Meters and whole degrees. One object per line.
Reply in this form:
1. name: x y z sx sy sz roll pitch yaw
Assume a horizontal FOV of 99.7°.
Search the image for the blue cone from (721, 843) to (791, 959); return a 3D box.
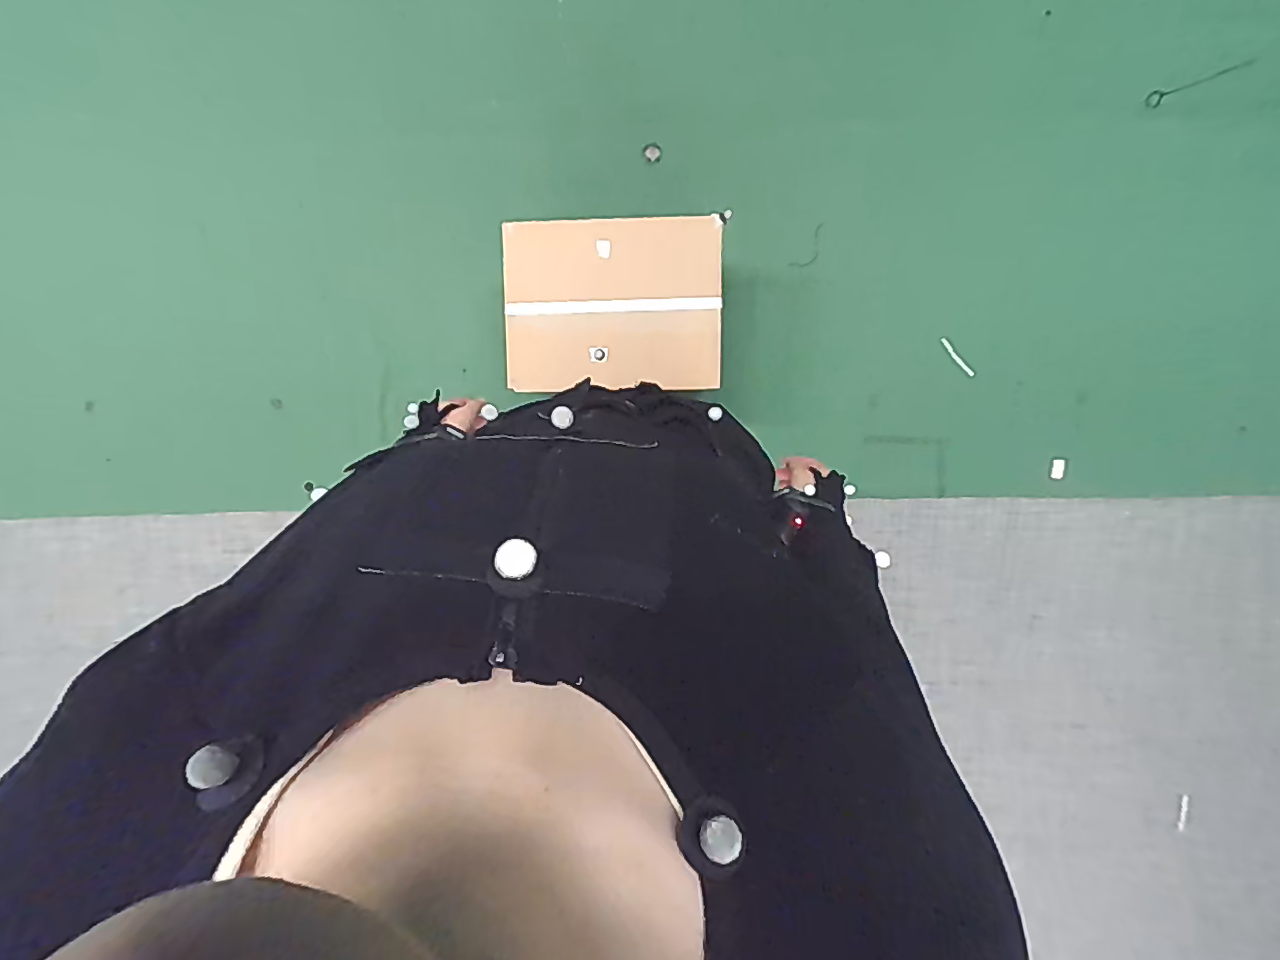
1. blue cone: 0.313 1.115 1.334 0.192 0.380 0.193 -1 99 3
